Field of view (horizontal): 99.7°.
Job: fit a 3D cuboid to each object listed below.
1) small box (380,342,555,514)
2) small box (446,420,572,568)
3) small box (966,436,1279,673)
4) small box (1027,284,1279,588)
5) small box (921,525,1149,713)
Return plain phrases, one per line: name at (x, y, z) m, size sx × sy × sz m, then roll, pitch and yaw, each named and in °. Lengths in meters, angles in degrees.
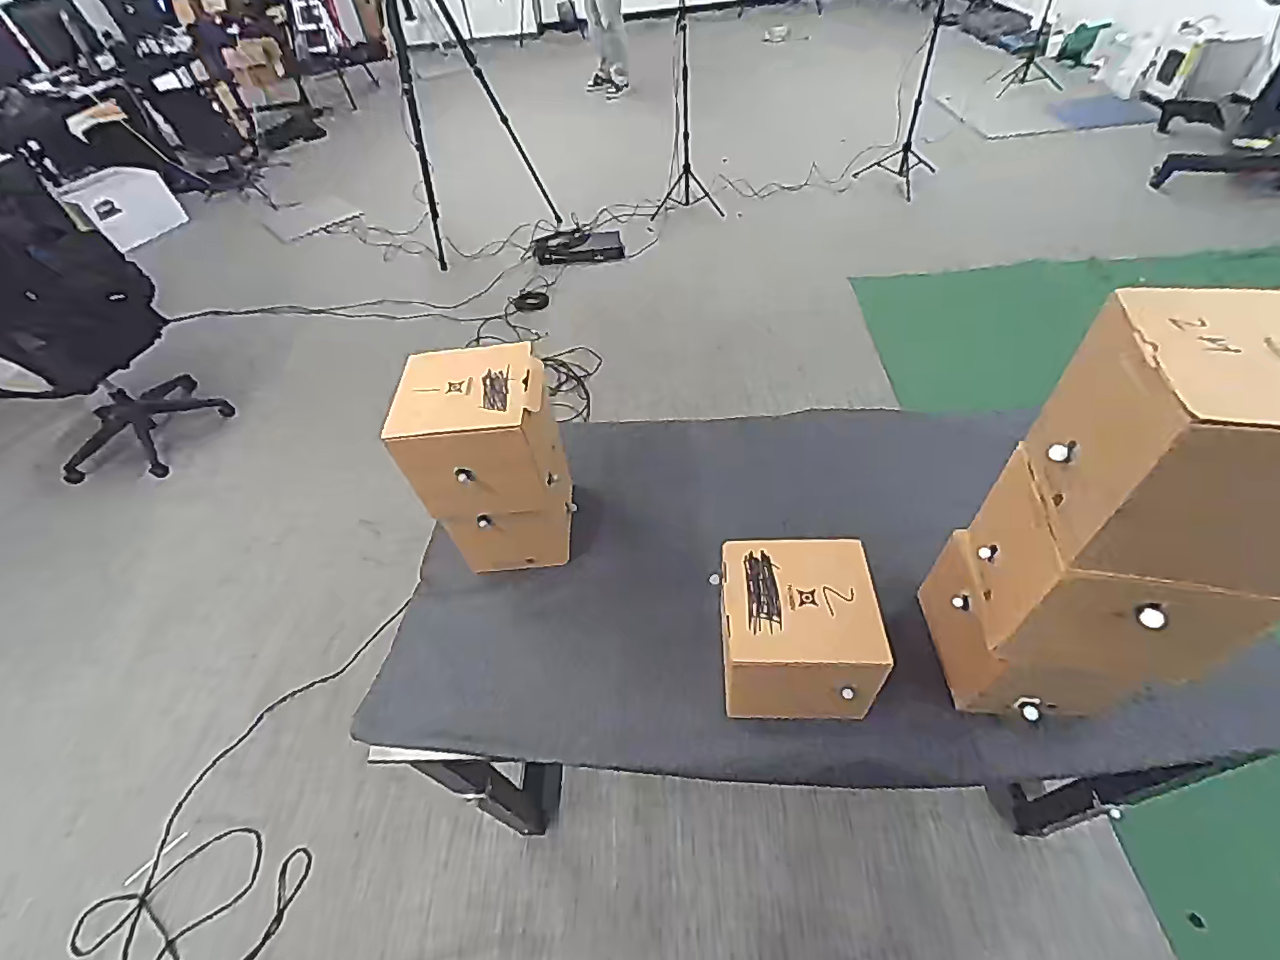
small box at (-0.222, -0.068, 0.754) m, size 0.179 × 0.176 × 0.168 m, roll -5°, pitch 51°, yaw 3°
small box at (-0.209, 0.025, 0.891) m, size 0.168 × 0.176 × 0.179 m, roll -5°, pitch 50°, yaw 2°
small box at (0.464, 0.077, 0.548) m, size 0.179 × 0.176 × 0.168 m, roll 5°, pitch 49°, yaw 13°
small box at (0.451, -0.033, 0.427) m, size 0.179 × 0.176 × 0.168 m, roll 6°, pitch 49°, yaw 14°
small box at (0.480, 0.174, 0.679) m, size 0.168 × 0.176 × 0.179 m, roll -3°, pitch 49°, yaw 6°
